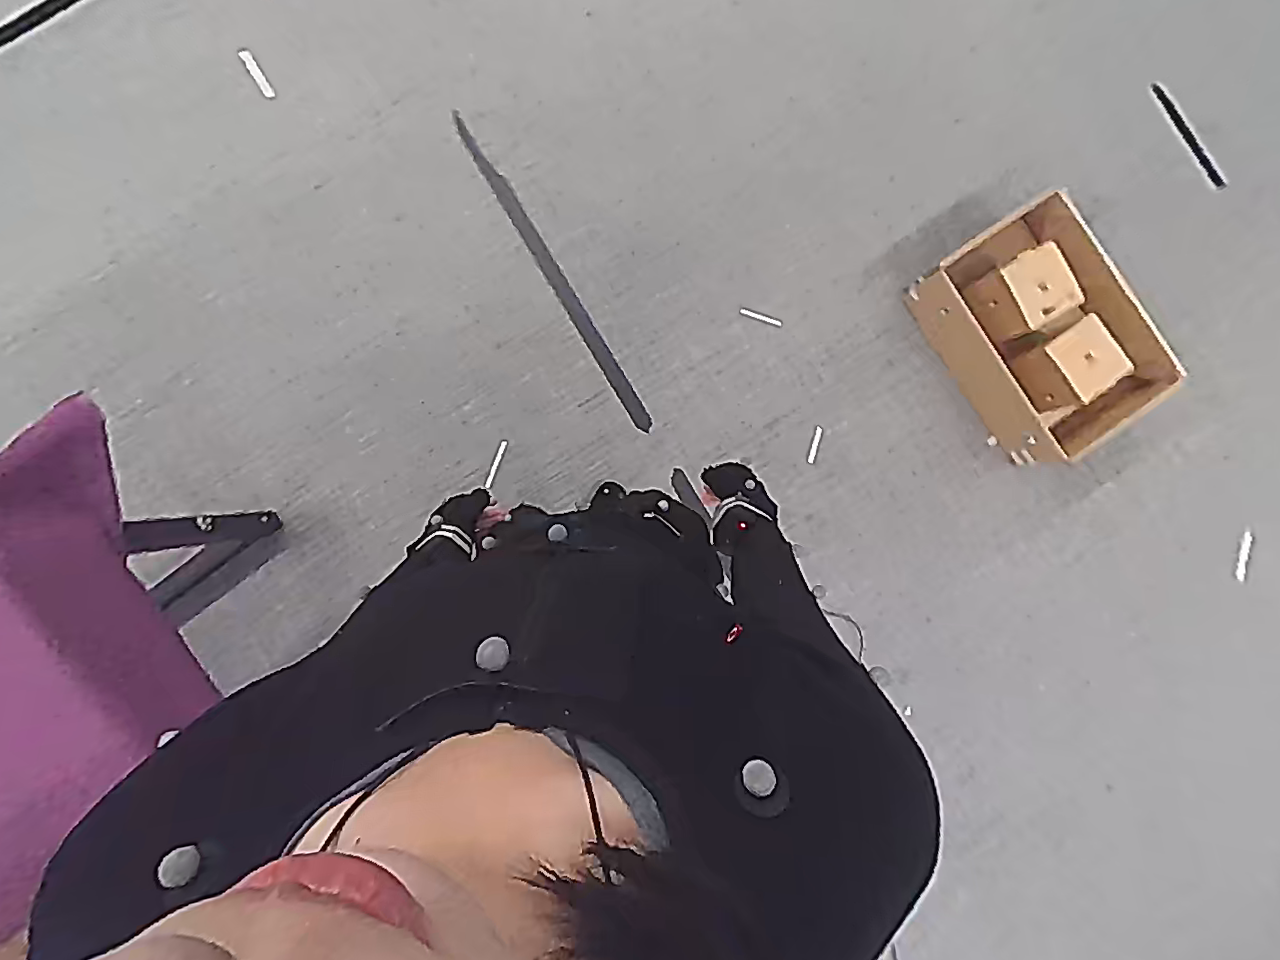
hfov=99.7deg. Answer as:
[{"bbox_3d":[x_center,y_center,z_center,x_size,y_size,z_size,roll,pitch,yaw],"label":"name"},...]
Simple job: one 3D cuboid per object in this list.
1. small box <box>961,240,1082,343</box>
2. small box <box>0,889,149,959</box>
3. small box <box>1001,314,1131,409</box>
[{"bbox_3d":[1.007,-0.494,1.446,0.168,0.176,0.179,-30,90,-2],"label":"small box"},{"bbox_3d":[-0.769,0.668,0.659,0.179,0.176,0.168,-36,90,-3],"label":"small box"},{"bbox_3d":[1.130,-0.306,1.449,0.168,0.176,0.179,-37,88,-3],"label":"small box"}]
